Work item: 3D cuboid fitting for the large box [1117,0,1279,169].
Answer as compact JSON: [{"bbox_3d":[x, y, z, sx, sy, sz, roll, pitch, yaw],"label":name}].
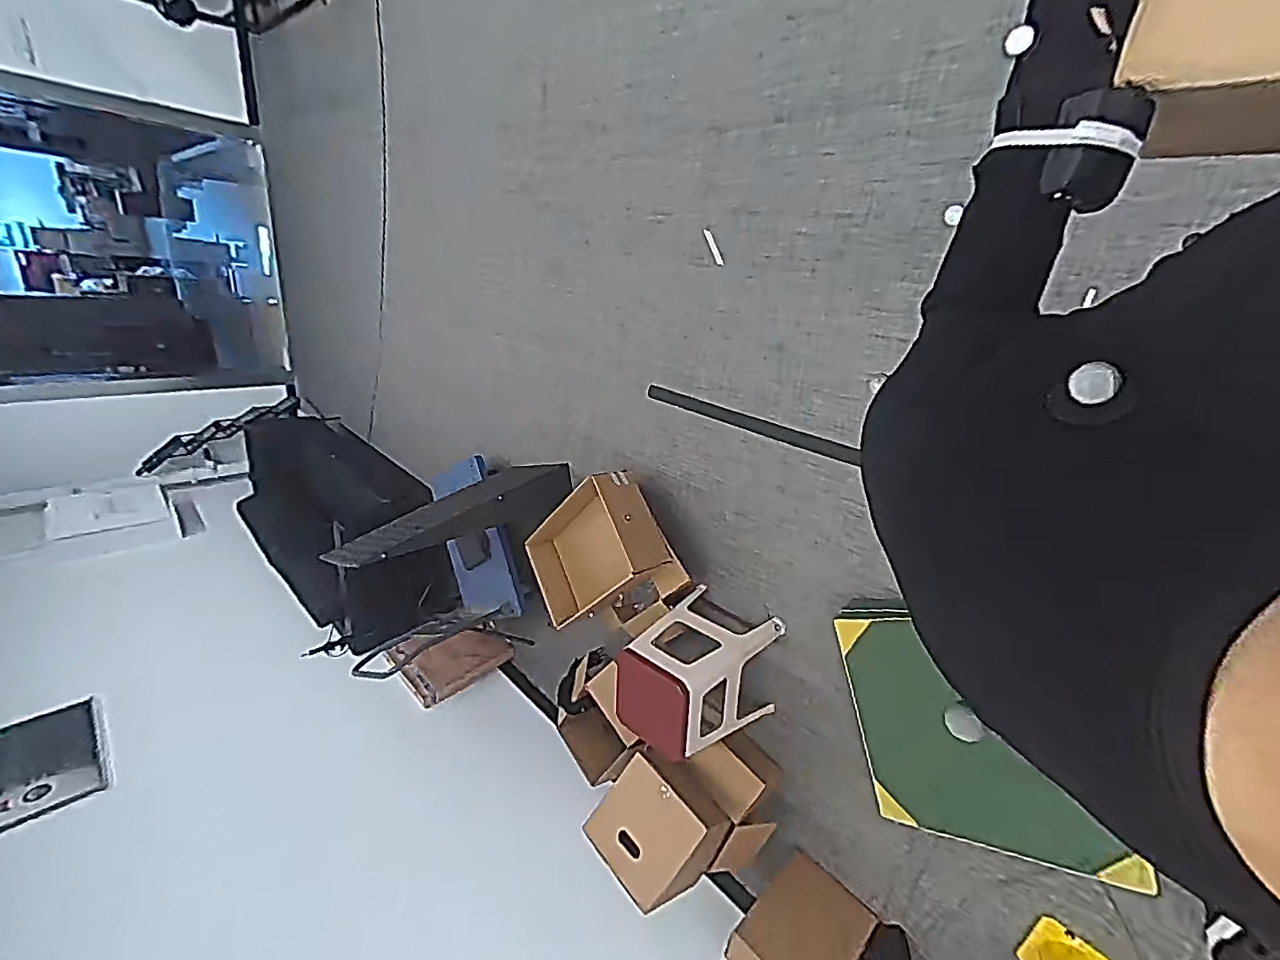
[{"bbox_3d":[0.580,-0.384,0.305,0.408,0.320,0.320,21,120,37],"label":"large box"}]
